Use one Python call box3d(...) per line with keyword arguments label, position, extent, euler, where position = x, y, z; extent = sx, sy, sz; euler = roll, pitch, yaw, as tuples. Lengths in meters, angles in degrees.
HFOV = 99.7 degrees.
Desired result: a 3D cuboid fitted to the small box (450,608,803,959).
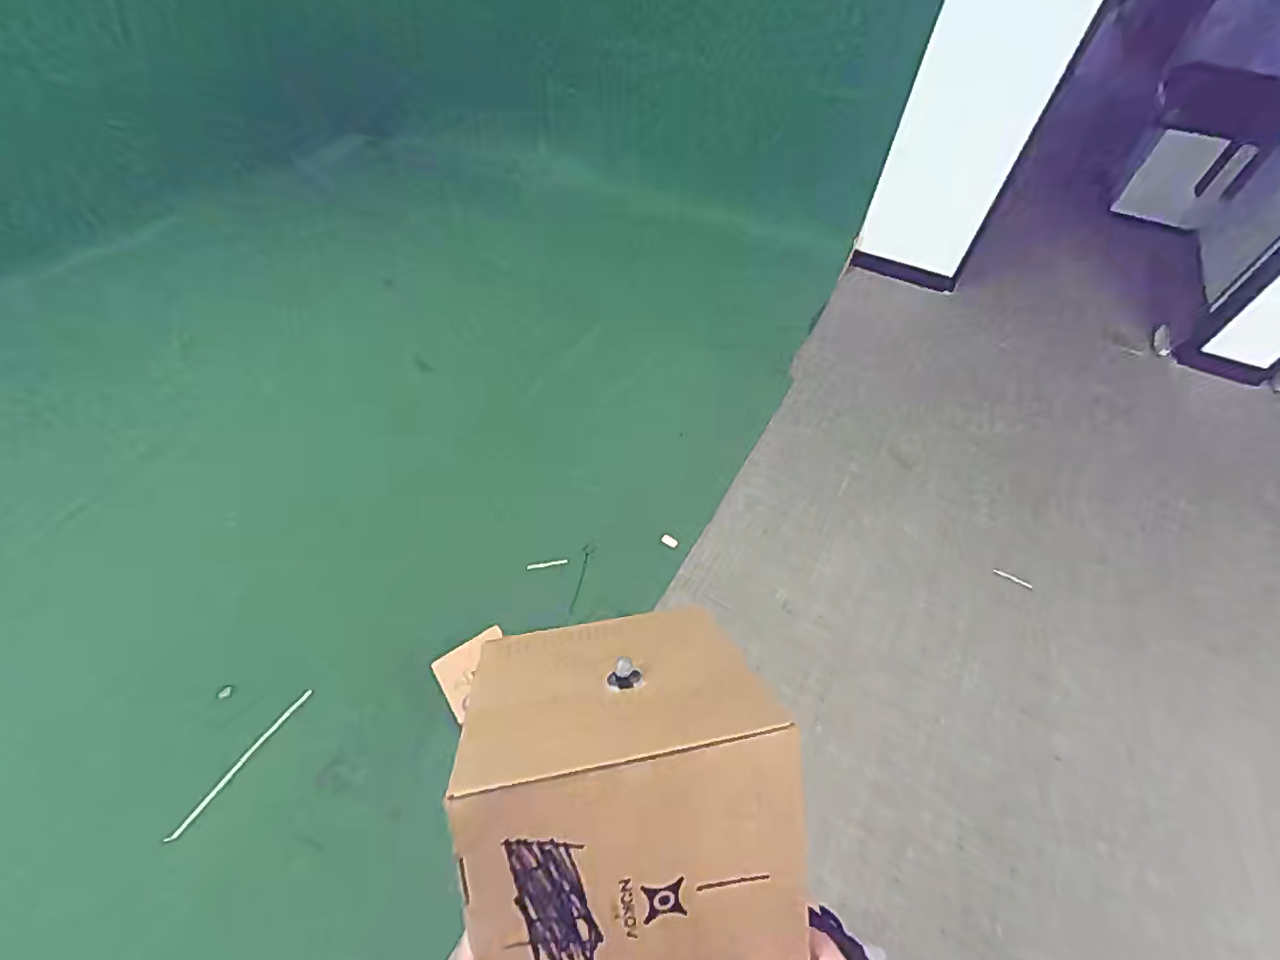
box3d(label="small box", position=(-0.013, 0.201, 0.361), extent=(0.179, 0.168, 0.176), euler=(-7, 9, -10))
